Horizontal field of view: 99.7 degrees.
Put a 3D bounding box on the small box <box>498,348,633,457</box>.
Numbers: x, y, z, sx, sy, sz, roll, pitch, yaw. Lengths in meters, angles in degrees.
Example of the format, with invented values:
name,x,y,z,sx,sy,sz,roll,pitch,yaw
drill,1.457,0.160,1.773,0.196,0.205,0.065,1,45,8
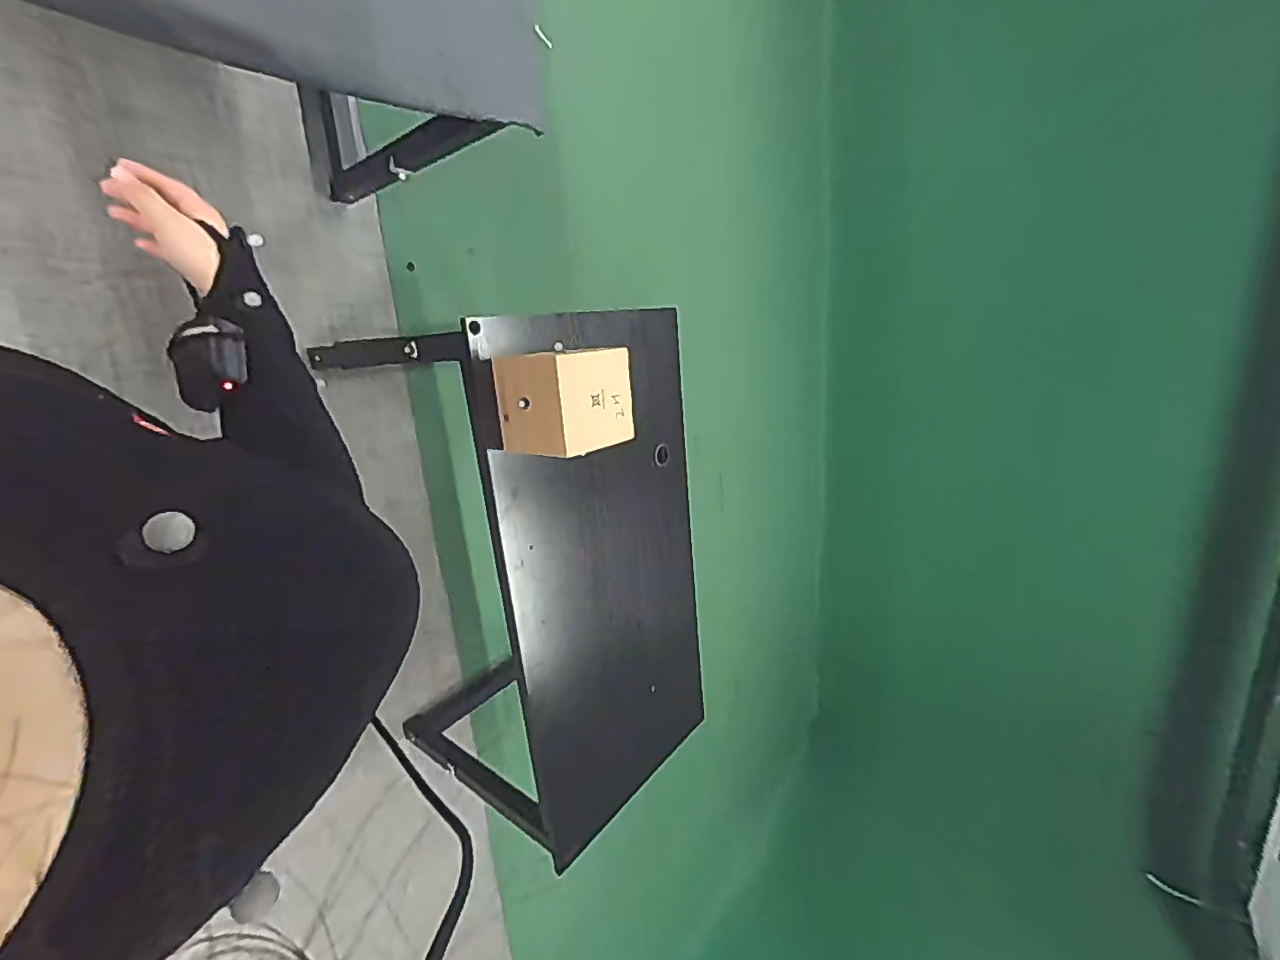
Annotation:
name,x,y,z,sx,sy,sz,roll,pitch,yaw
small box,-0.135,-0.142,0.957,0.179,0.176,0.168,-22,114,-47
